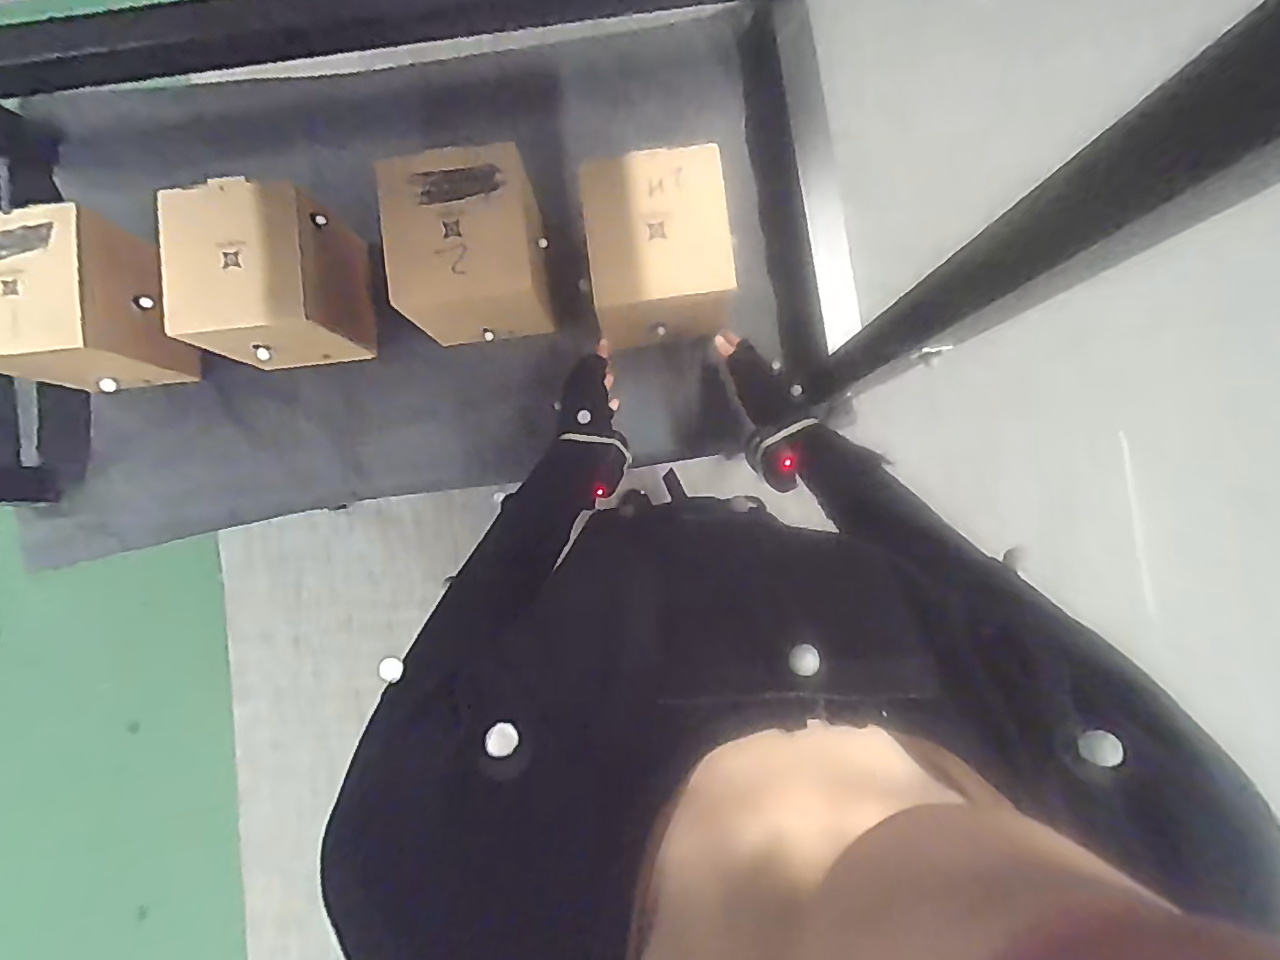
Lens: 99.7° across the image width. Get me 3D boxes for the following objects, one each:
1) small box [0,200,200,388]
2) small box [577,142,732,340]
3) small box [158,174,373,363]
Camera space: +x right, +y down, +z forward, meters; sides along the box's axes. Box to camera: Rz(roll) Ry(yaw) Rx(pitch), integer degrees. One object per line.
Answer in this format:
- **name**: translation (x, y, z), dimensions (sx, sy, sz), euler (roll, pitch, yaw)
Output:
- **small box**: translation (-0.722, -0.229, 0.704), dimensions (0.168, 0.176, 0.179), euler (-6, 88, 0)
- **small box**: translation (0.019, -0.291, 0.698), dimensions (0.168, 0.176, 0.179), euler (-7, 87, 1)
- **small box**: translation (-0.471, -0.259, 0.706), dimensions (0.168, 0.176, 0.179), euler (-6, 87, 0)
